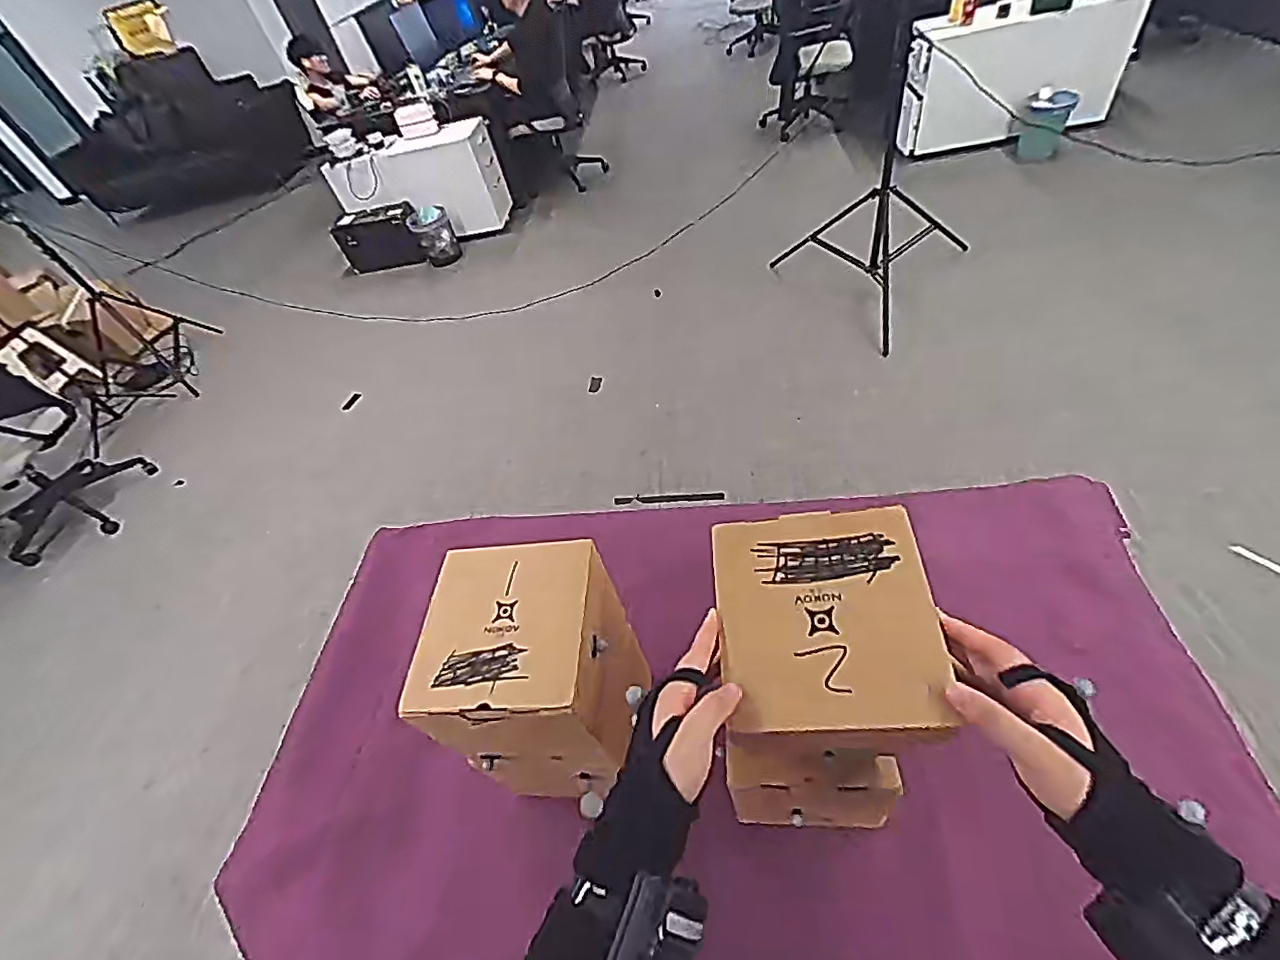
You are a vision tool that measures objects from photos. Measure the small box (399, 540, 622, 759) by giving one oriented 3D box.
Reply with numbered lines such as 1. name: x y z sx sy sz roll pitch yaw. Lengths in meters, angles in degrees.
1. small box: -0.118 0.187 0.579 0.168 0.176 0.179 -6 48 9

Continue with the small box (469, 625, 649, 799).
1. small box: -0.087 0.299 0.696 0.179 0.176 0.168 -5 48 11

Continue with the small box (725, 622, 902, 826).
1. small box: 0.189 0.286 0.637 0.168 0.176 0.179 -5 48 11
